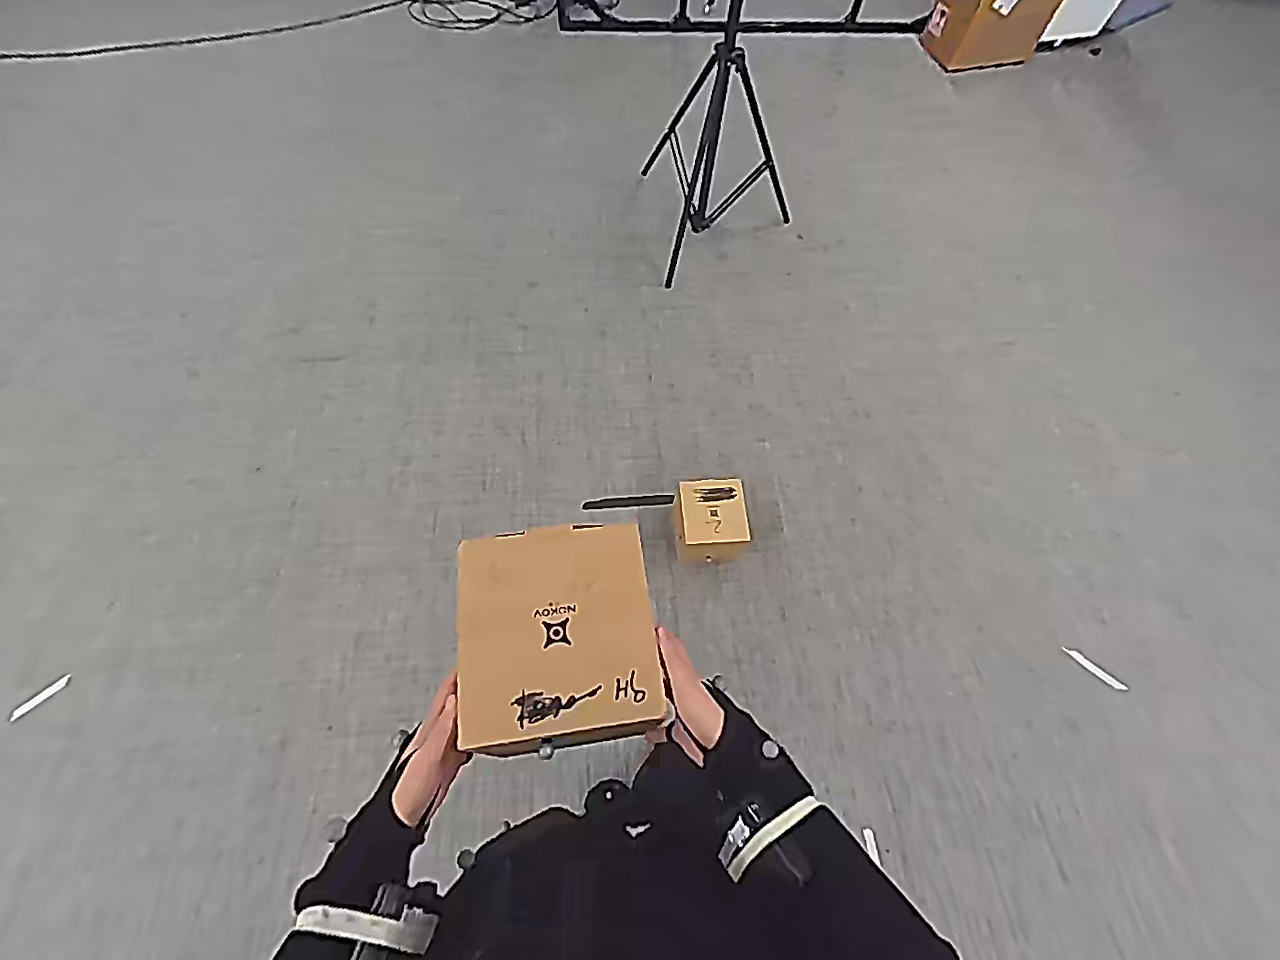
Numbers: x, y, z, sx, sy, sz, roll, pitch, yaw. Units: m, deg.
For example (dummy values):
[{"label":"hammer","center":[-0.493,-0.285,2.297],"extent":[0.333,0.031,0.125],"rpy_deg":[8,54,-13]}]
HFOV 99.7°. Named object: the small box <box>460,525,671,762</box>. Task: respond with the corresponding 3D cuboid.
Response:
[{"label":"small box","center":[-0.073,0.164,0.527],"extent":[0.168,0.176,0.179],"rpy_deg":[-6,61,-7]}]
